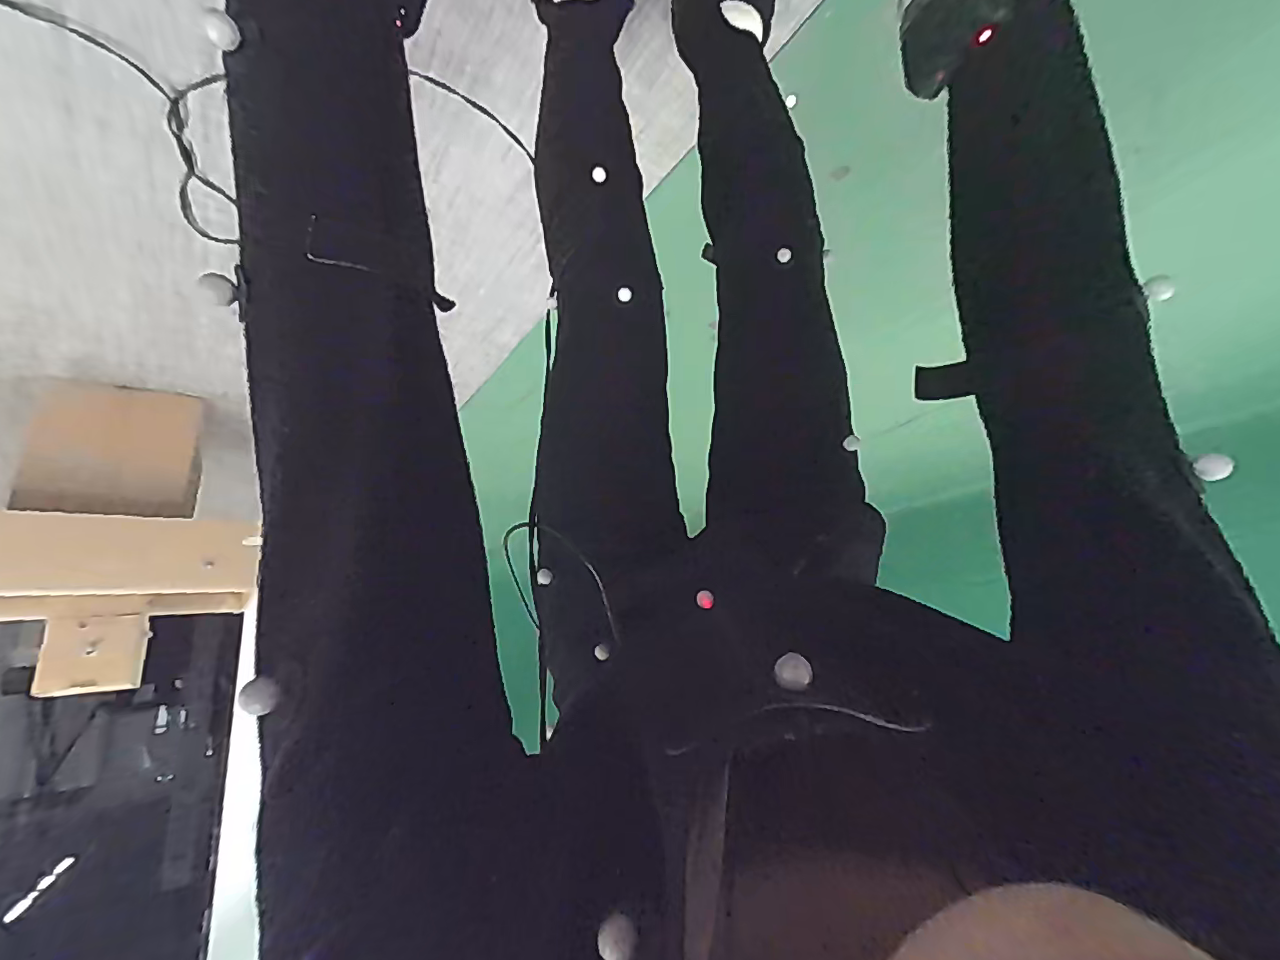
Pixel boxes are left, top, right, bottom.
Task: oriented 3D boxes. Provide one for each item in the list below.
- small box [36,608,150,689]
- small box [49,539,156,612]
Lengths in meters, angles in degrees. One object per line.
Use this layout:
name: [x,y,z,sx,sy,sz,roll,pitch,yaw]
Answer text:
small box: [-1.328,0.407,1.324,0.168,0.176,0.179,6,157,-35]
small box: [-1.352,0.253,1.374,0.168,0.176,0.179,6,157,-38]
